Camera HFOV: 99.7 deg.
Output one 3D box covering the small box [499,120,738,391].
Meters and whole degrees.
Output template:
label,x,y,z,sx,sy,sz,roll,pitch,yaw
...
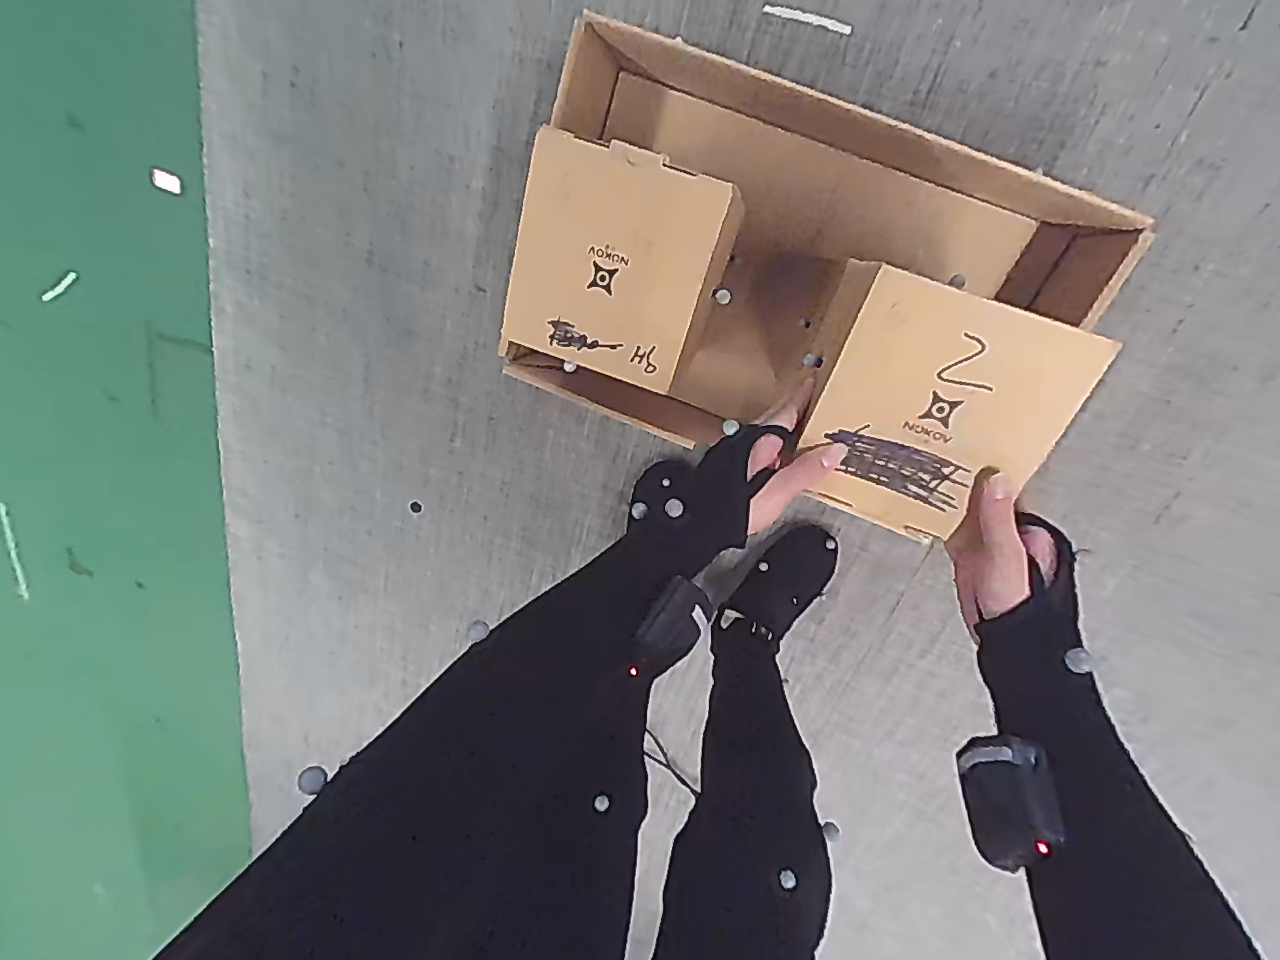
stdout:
label,x,y,z,sx,sy,sz,roll,pitch,yaw
small box,-0.010,-0.207,0.526,0.168,0.176,0.179,21,113,7
